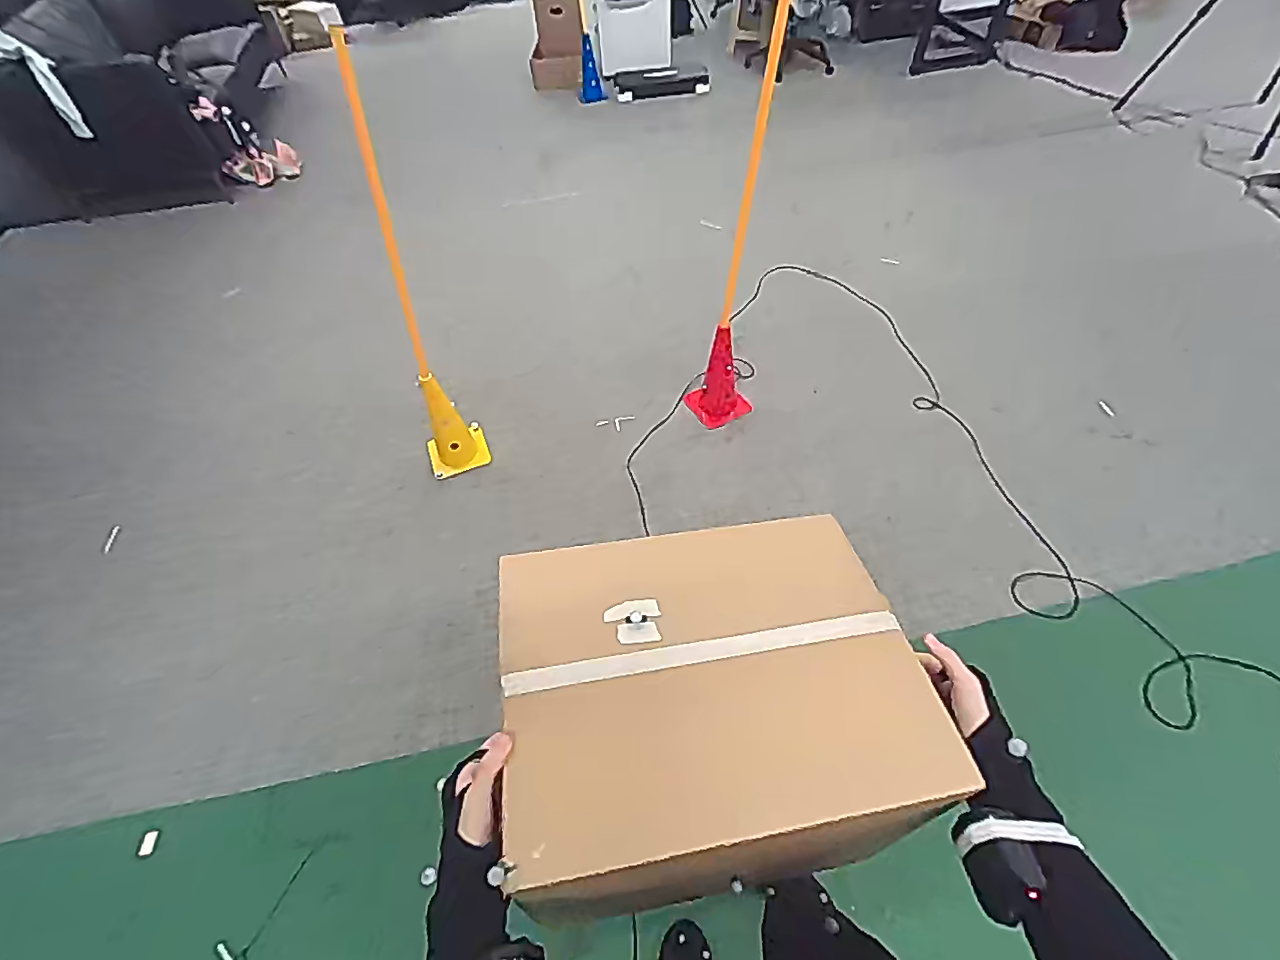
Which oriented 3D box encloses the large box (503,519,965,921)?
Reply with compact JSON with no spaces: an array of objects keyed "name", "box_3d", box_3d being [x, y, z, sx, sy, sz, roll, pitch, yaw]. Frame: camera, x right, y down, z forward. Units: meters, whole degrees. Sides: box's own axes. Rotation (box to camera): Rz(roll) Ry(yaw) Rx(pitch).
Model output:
[{"name":"large box","box_3d":[0.067,0.285,0.655,0.408,0.320,0.320,-8,46,-8]}]
